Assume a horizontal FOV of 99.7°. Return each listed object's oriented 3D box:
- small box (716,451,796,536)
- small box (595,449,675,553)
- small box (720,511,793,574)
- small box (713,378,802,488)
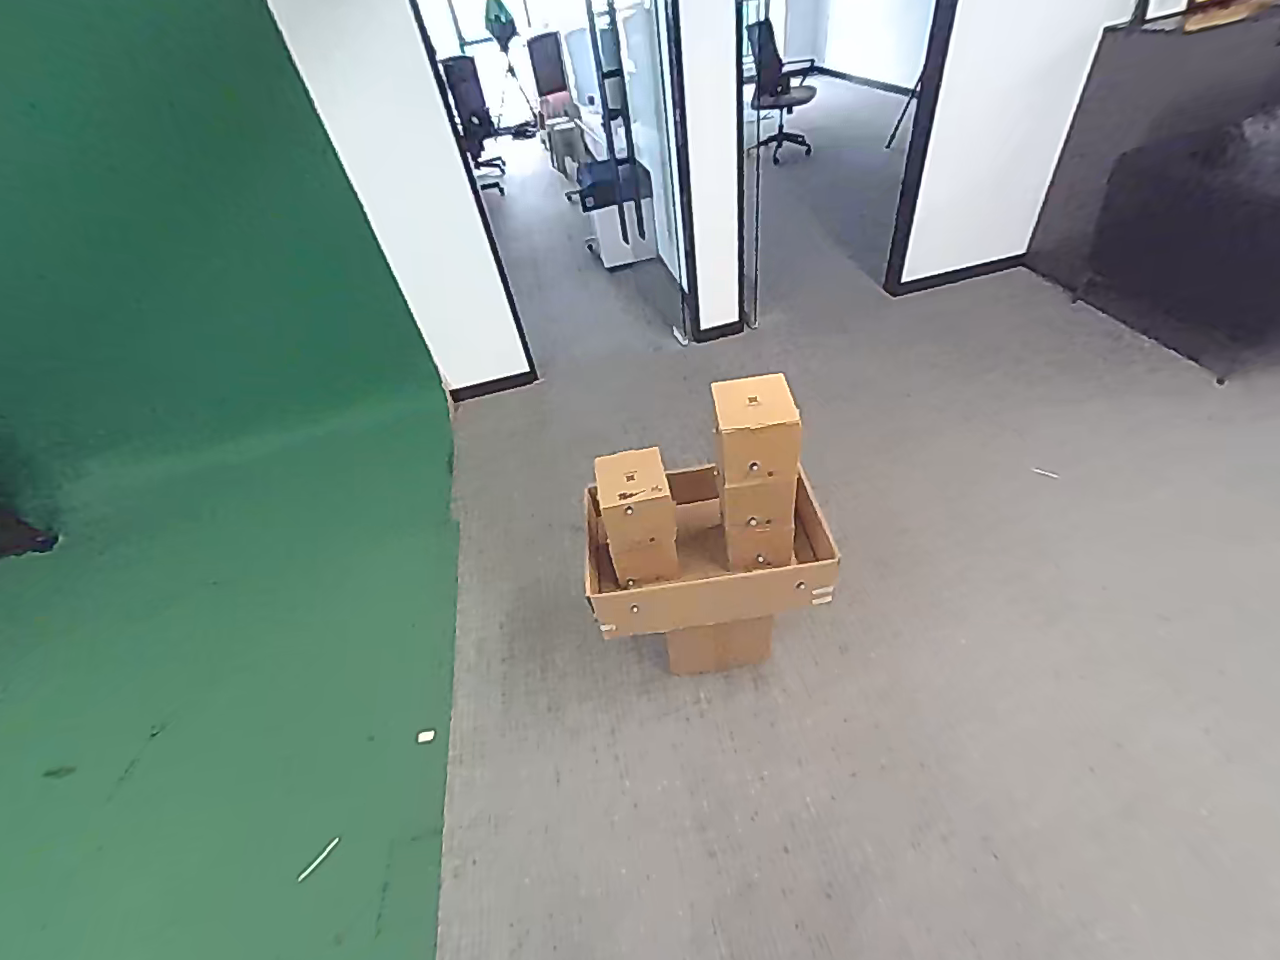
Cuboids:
[{"bbox_3d":[0.276,0.013,1.323,0.168,0.176,0.179,-7,44,4],"label":"small box"},{"bbox_3d":[-0.012,0.053,1.332,0.168,0.176,0.179,-11,43,0],"label":"small box"},{"bbox_3d":[0.302,0.127,1.435,0.168,0.176,0.179,-6,44,5],"label":"small box"},{"bbox_3d":[0.256,-0.104,1.212,0.168,0.176,0.179,-7,44,4],"label":"small box"}]
